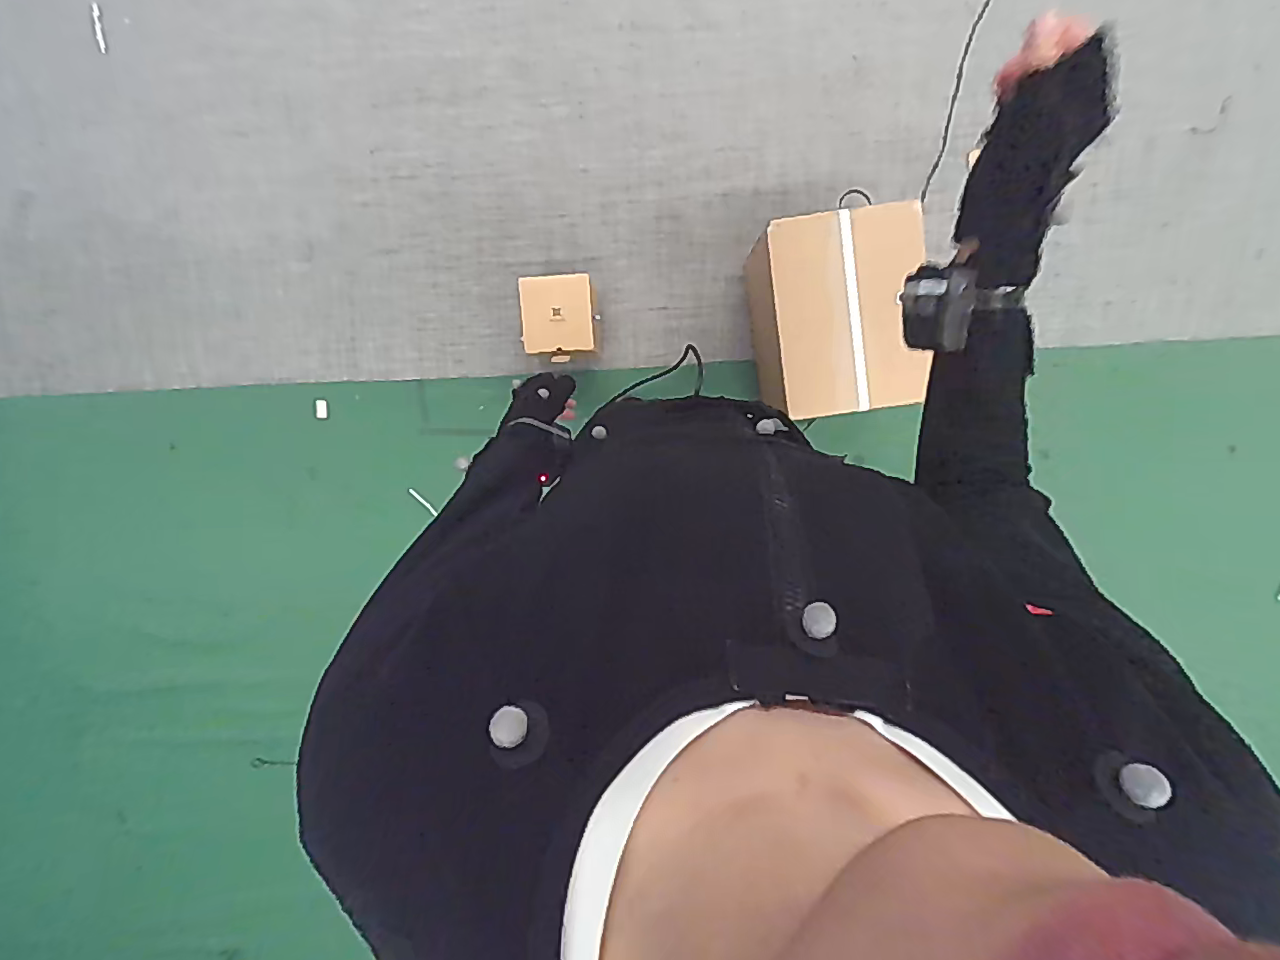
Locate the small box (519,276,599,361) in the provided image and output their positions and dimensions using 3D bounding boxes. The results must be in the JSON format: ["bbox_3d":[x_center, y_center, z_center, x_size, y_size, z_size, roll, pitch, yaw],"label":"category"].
[{"bbox_3d":[-0.195,-0.395,1.346,0.168,0.176,0.179,-4,99,2],"label":"small box"}]
